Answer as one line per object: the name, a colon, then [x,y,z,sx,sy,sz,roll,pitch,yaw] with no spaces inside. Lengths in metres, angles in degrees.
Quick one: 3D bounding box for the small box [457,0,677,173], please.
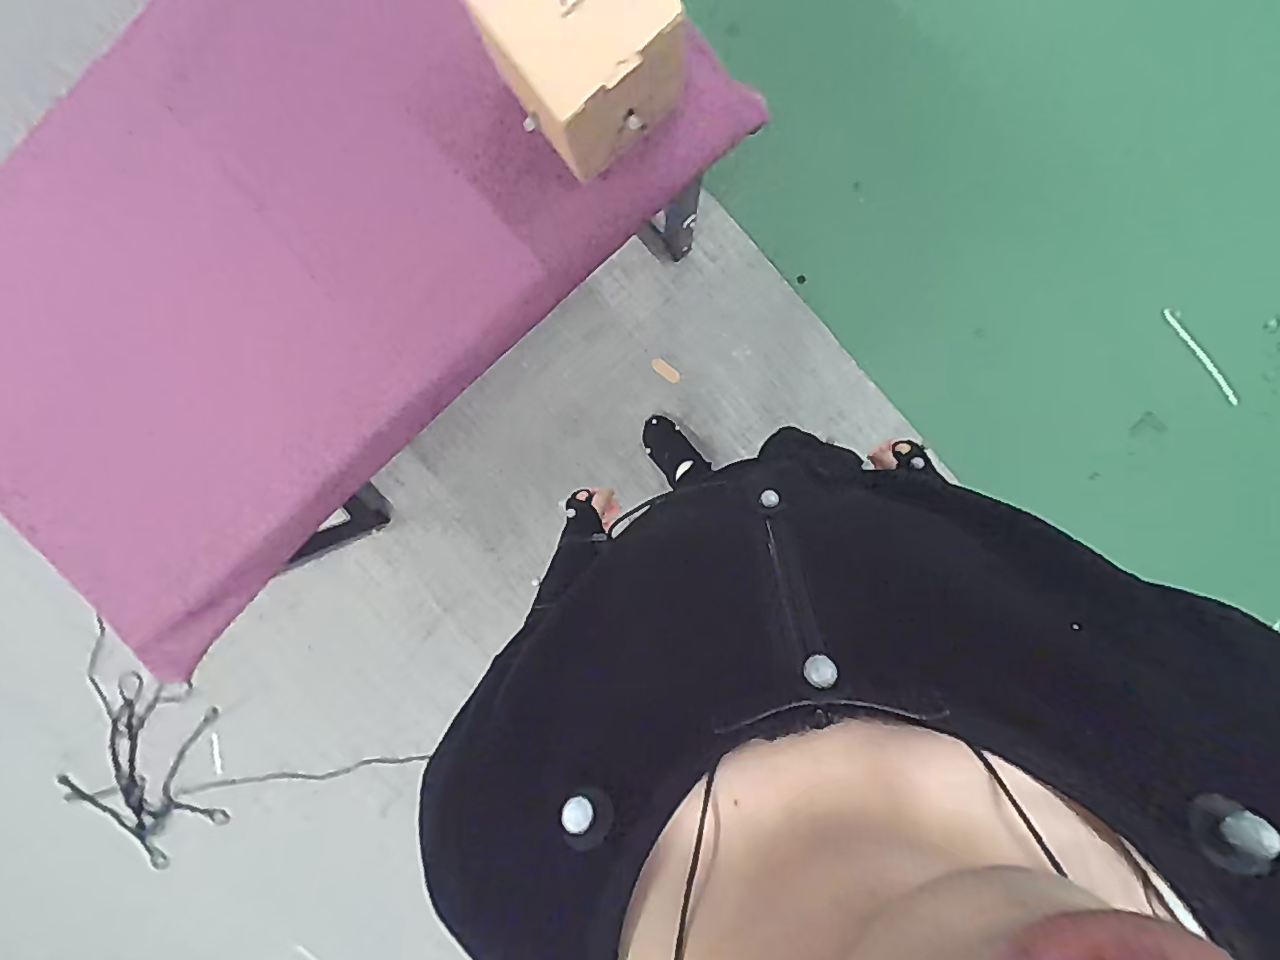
small box: [-0.071,-0.492,0.625,0.168,0.176,0.179,-38,96,8]
